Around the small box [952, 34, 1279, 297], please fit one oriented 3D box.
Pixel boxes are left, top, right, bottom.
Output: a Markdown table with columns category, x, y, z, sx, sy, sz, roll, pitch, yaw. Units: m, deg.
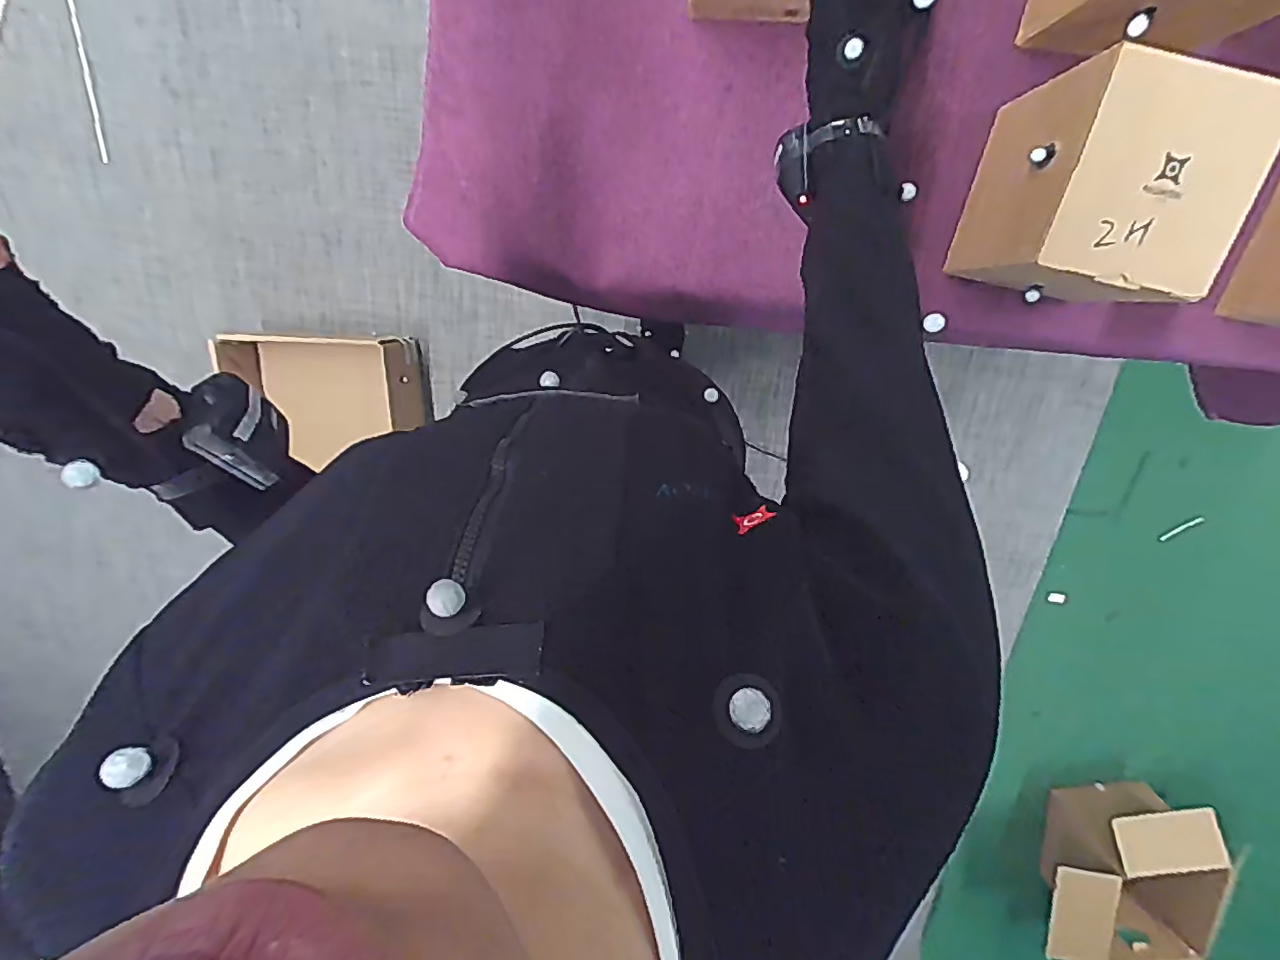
| category | x | y | z | sx | sy | sz | roll | pitch | yaw |
| --- | --- | --- | --- | --- | --- | --- | --- | --- | --- |
| small box | 0.454 | -0.290 | 0.542 | 0.168 | 0.176 | 0.179 | 11 | 109 | -3 |

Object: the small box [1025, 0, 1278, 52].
| category | x | y | z | sx | sy | sz | roll | pitch | yaw |
| --- | --- | --- | --- | --- | --- | --- | --- | --- | --- |
| small box | 0.483 | -0.505 | 0.470 | 0.168 | 0.176 | 0.179 | 5 | 109 | -1 |
